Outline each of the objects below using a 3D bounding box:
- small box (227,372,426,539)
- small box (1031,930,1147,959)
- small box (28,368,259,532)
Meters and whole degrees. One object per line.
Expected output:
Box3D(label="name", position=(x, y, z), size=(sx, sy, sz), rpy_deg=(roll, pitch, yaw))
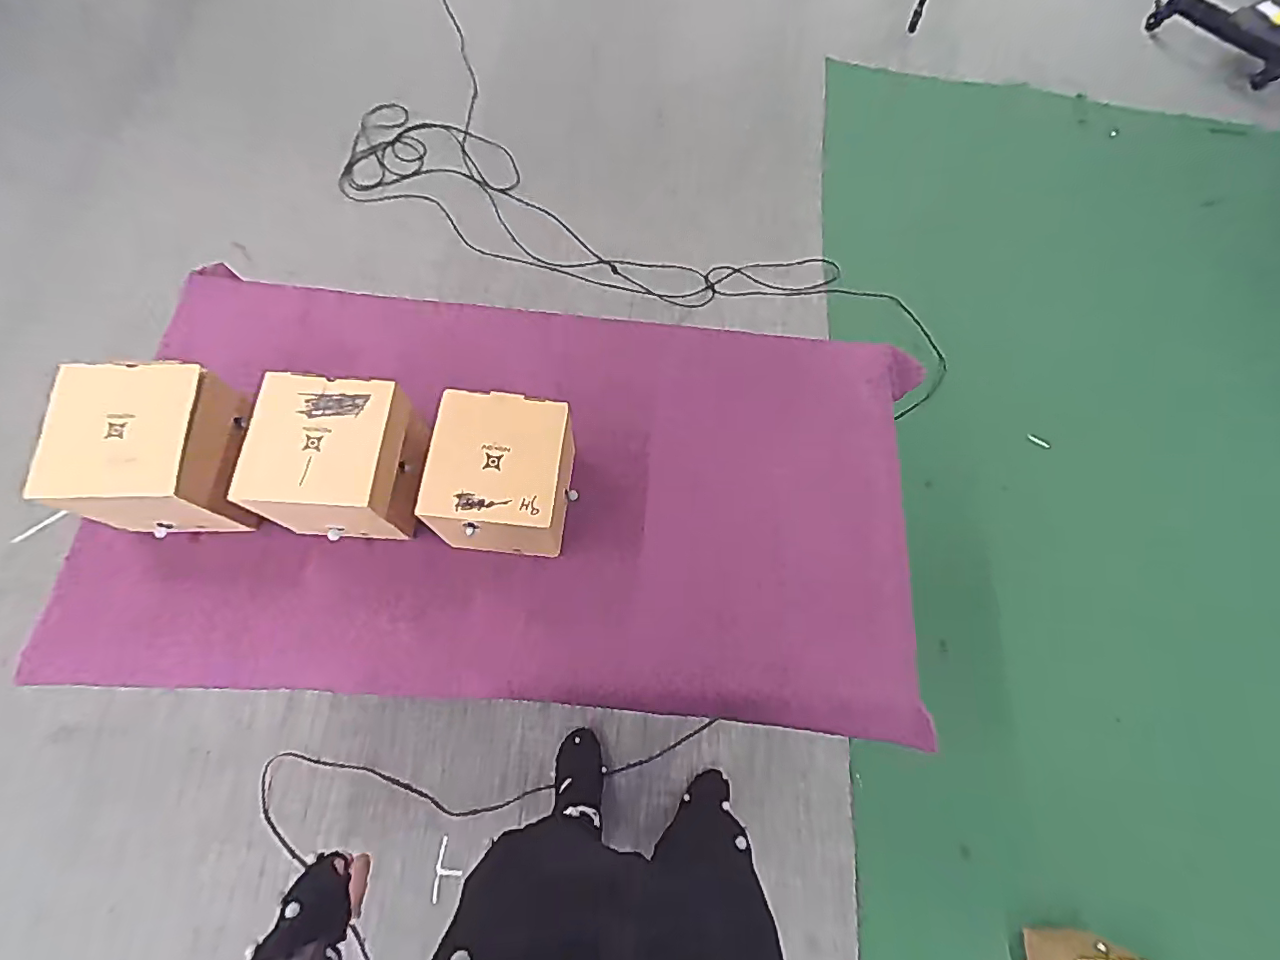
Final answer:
Box3D(label="small box", position=(-0.413, -0.026, 0.750), size=(0.168, 0.176, 0.179), rpy_deg=(4, 71, -2))
Box3D(label="small box", position=(1.006, 1.130, 1.195), size=(0.179, 0.176, 0.168), rpy_deg=(5, 69, -3))
Box3D(label="small box", position=(-0.640, -0.034, 0.738), size=(0.168, 0.176, 0.179), rpy_deg=(-1, 71, -3))
